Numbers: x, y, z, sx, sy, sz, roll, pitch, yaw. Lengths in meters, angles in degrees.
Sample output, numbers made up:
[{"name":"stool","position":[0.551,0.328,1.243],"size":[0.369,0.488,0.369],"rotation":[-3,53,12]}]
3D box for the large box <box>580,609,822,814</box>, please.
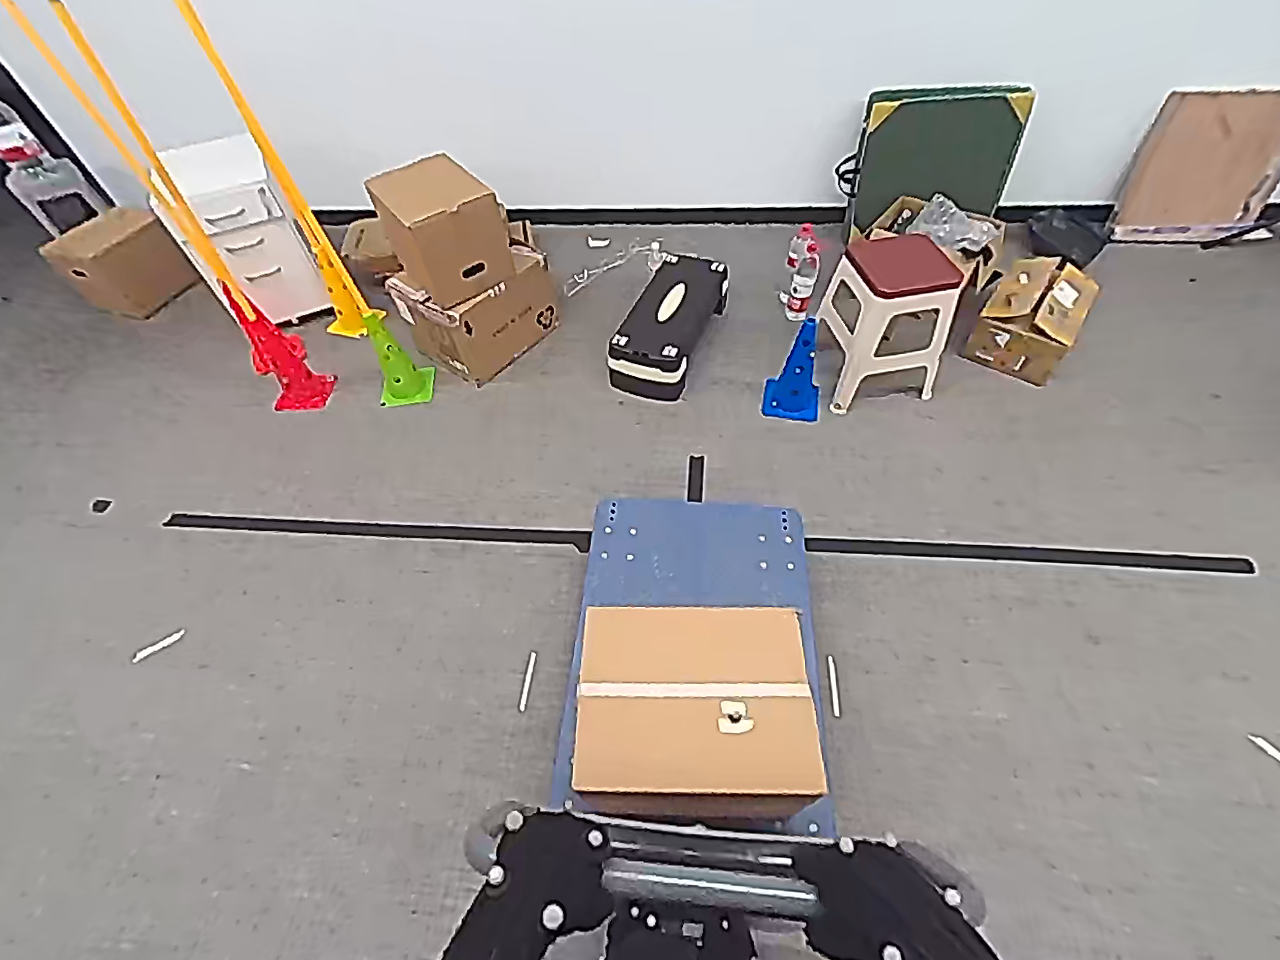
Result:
[{"name":"large box","position":[0.099,0.467,1.080],"size":[0.408,0.320,0.320],"rotation":[0,53,1]}]
